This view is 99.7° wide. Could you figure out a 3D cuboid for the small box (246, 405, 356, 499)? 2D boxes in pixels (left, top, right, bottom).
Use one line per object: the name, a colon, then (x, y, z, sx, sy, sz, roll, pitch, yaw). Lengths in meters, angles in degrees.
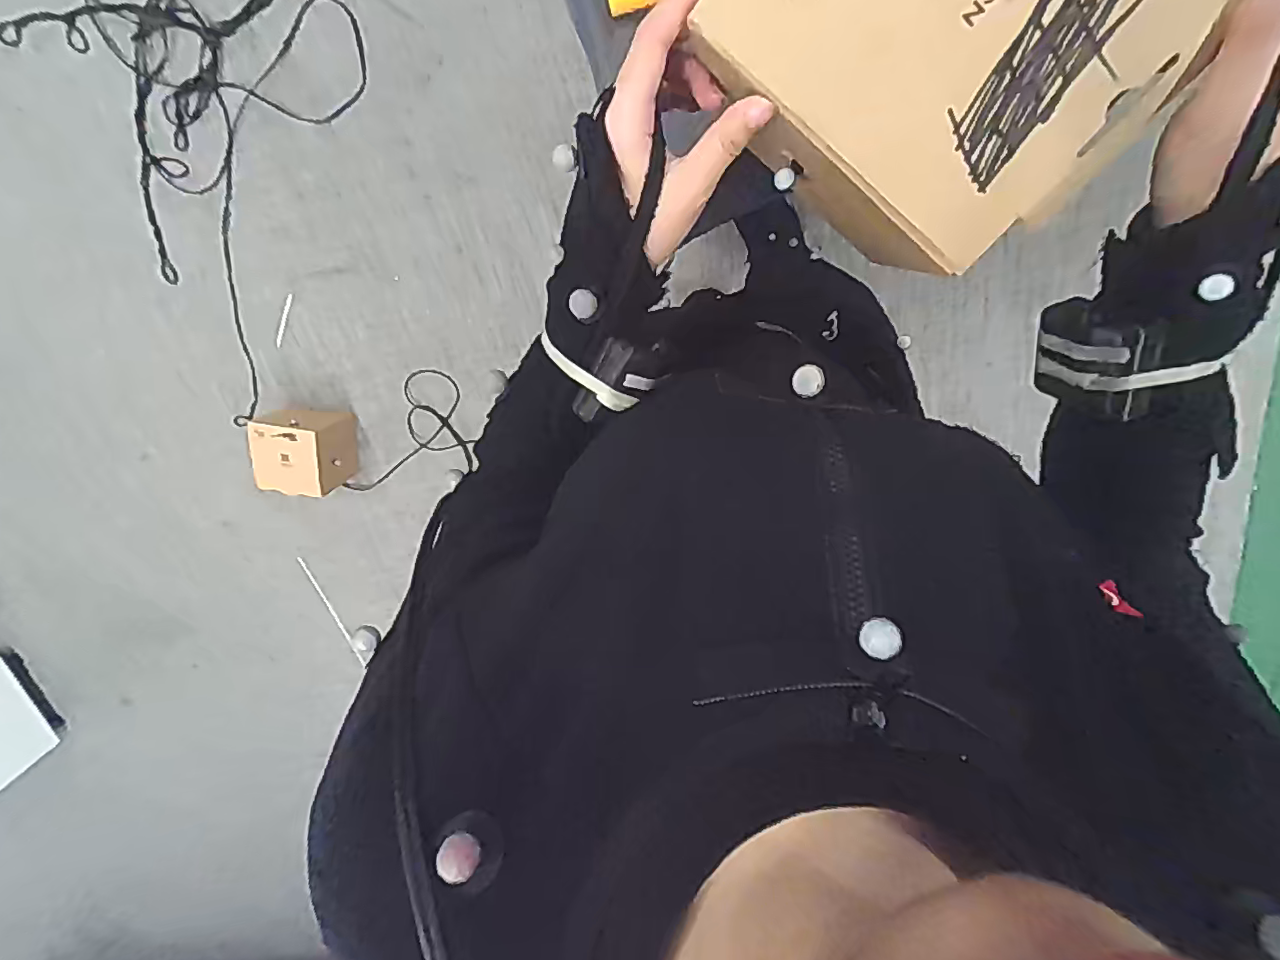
small box: (-0.839, -0.074, 1.357, 0.168, 0.176, 0.179, 9, 113, 1)
